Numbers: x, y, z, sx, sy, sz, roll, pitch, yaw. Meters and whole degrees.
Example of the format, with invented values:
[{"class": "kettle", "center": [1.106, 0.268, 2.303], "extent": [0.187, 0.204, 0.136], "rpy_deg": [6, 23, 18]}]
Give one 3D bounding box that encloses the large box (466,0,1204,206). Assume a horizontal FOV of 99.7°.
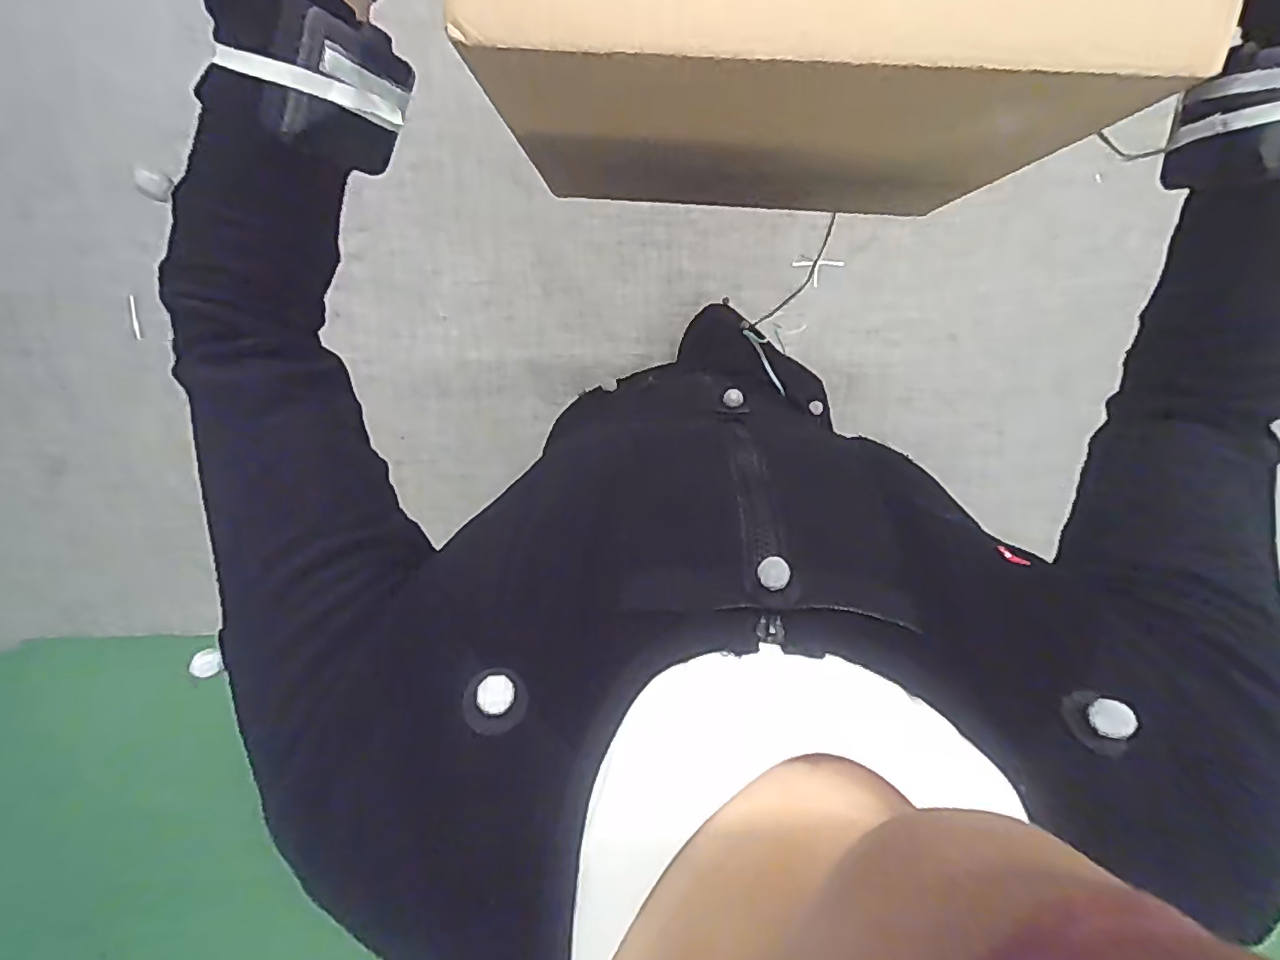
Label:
[{"class": "large box", "center": [0.107, -0.413, 0.407], "extent": [0.408, 0.320, 0.320], "rpy_deg": [3, 104, 1]}]
